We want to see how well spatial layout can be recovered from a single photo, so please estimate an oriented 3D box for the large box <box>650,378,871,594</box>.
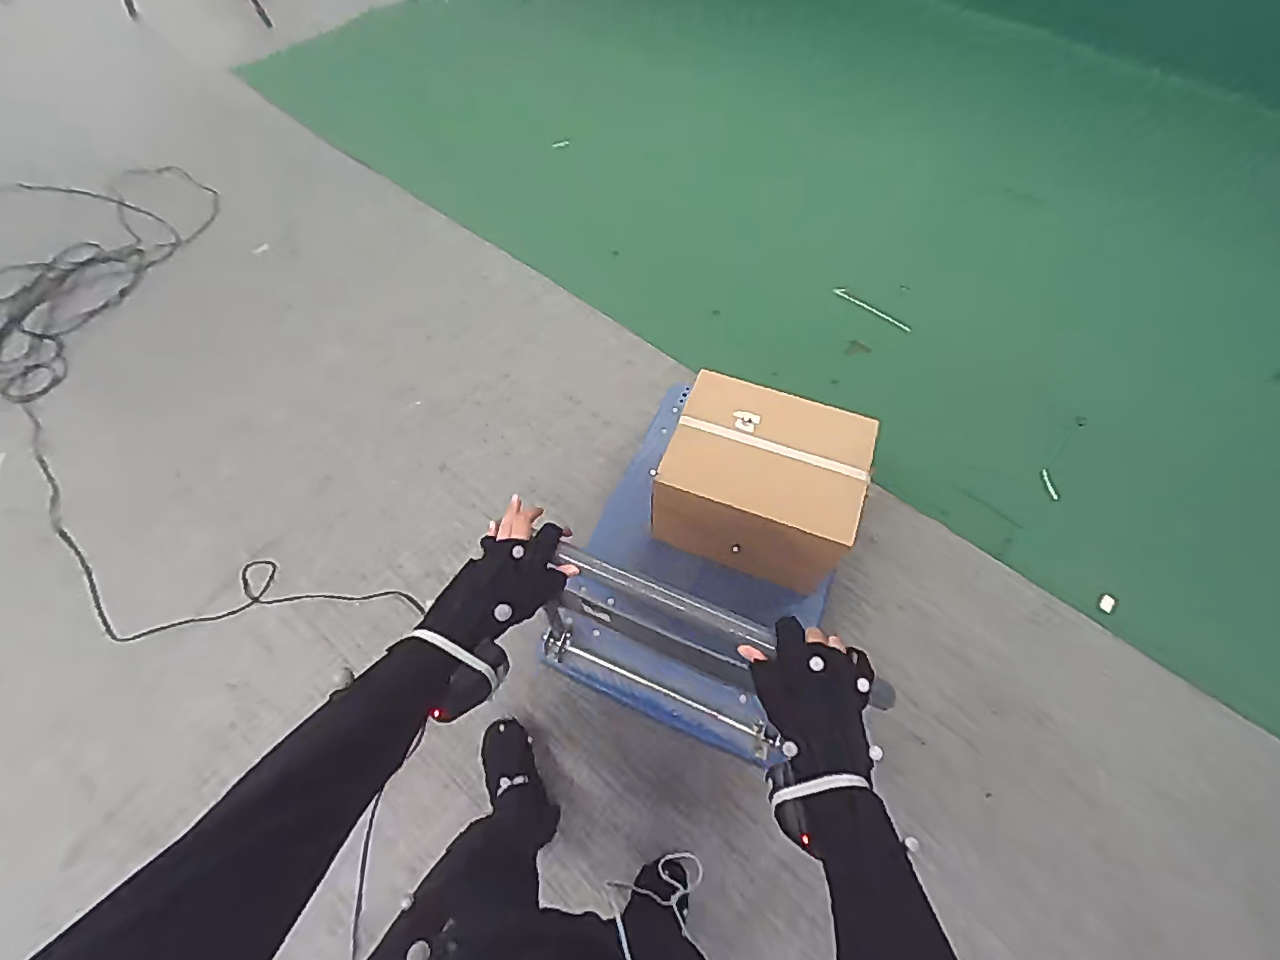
[{"bbox_3d":[0.263,0.022,1.254,0.408,0.320,0.320,19,62,12],"label":"large box"}]
